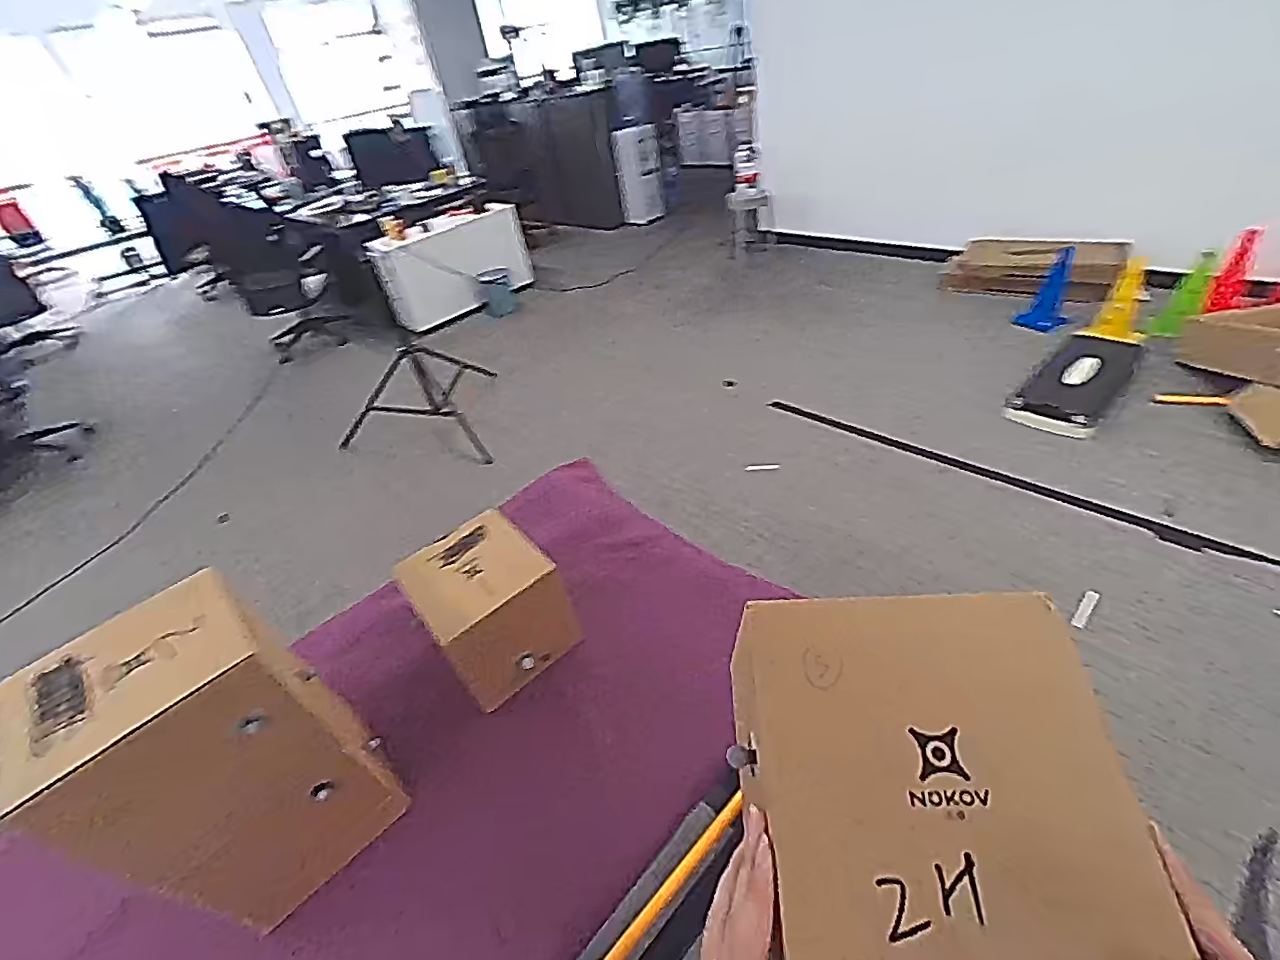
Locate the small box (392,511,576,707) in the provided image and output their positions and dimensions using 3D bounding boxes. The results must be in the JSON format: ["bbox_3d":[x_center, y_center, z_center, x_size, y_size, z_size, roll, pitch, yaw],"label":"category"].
[{"bbox_3d":[-0.216,0.182,0.771,0.168,0.176,0.179,-34,45,-26],"label":"small box"}]

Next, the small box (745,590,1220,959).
[{"bbox_3d":[0.155,0.177,0.322,0.168,0.176,0.179,-1,59,6],"label":"small box"}]

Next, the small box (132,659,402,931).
[{"bbox_3d":[-0.410,0.352,0.612,0.179,0.176,0.168,-37,45,-29],"label":"small box"}]
